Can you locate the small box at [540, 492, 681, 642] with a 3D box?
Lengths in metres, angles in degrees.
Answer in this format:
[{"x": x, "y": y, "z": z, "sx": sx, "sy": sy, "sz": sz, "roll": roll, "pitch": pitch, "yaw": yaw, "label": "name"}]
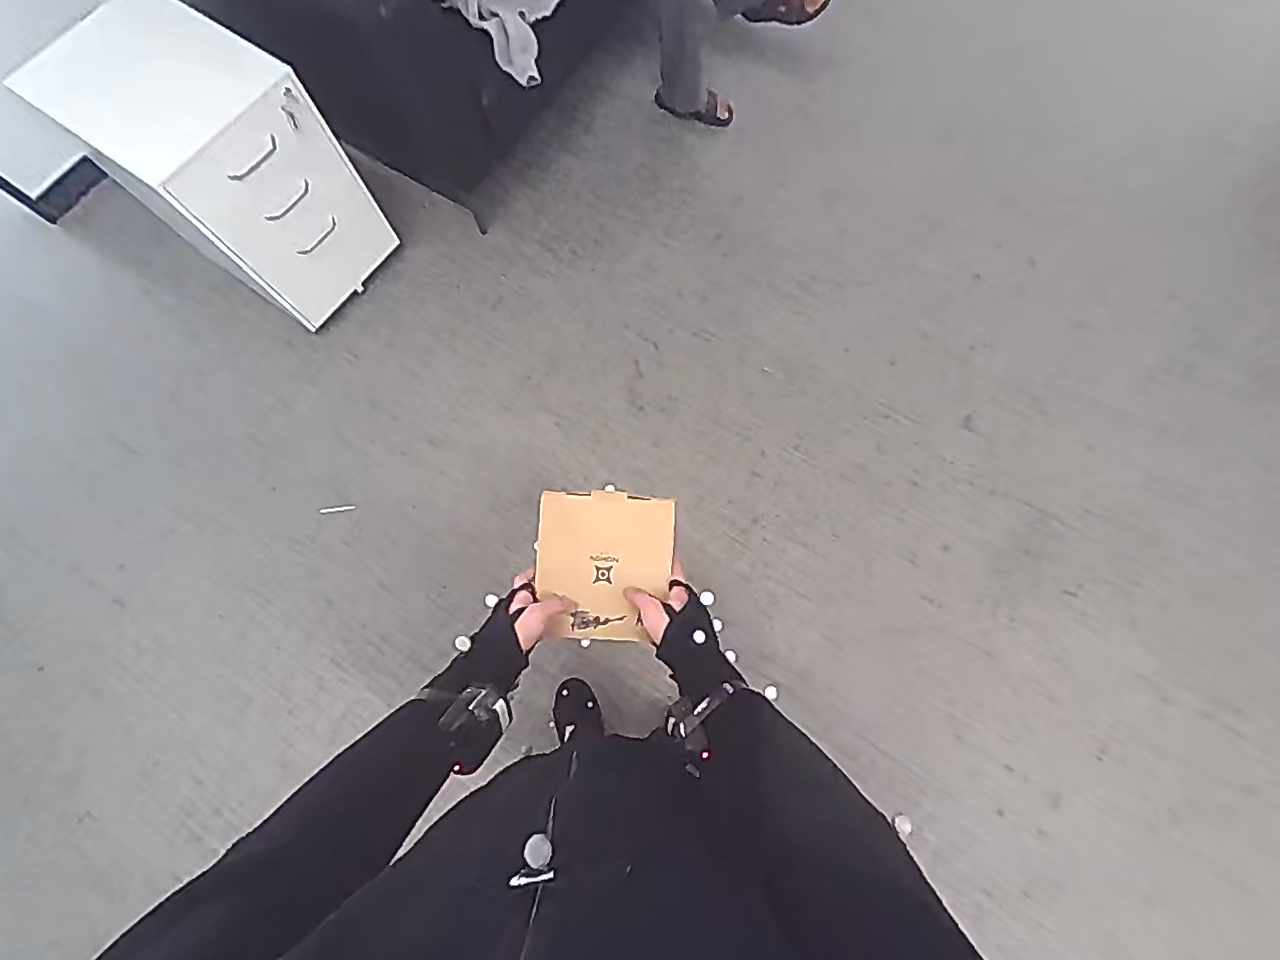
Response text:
[{"x": -0.038, "y": 0.115, "z": 0.737, "sx": 0.168, "sy": 0.176, "sz": 0.179, "roll": 2, "pitch": 83, "yaw": -1, "label": "small box"}]
